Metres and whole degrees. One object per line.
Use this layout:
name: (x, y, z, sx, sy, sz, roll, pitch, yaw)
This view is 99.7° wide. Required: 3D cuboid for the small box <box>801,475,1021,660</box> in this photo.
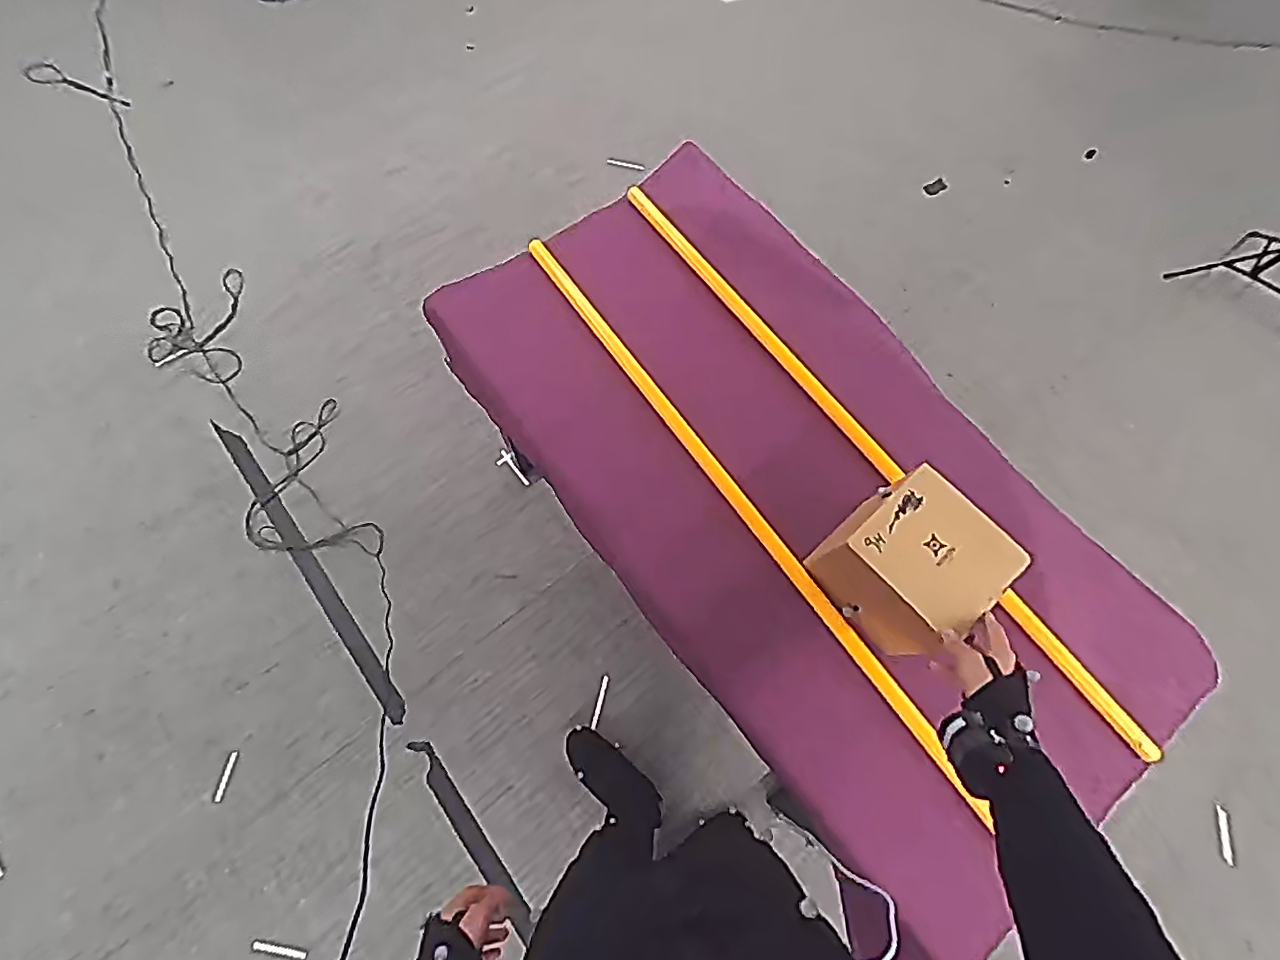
small box: (0.361, 0.127, 0.754, 0.168, 0.176, 0.179, -39, 78, -15)
